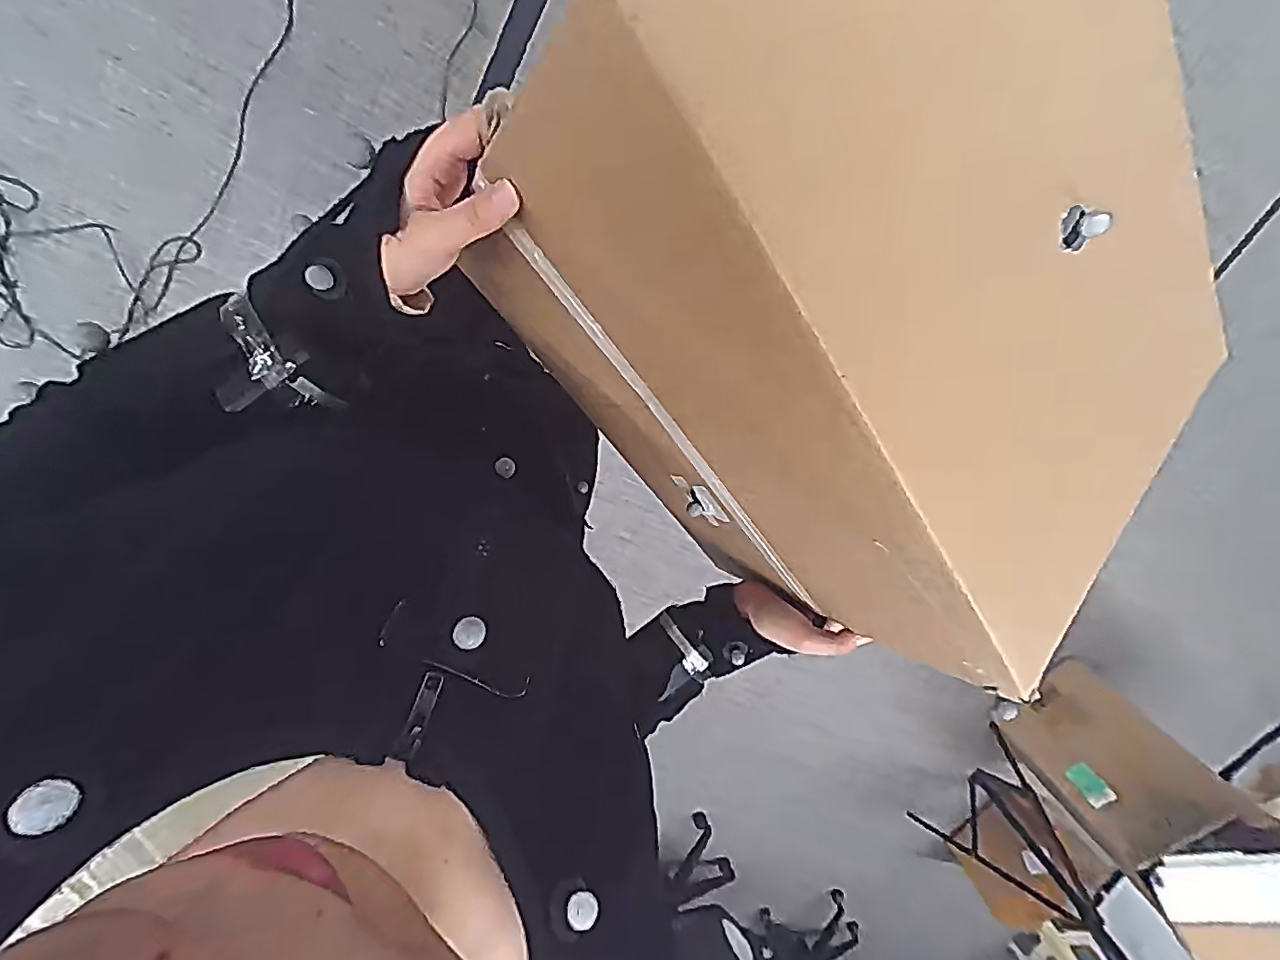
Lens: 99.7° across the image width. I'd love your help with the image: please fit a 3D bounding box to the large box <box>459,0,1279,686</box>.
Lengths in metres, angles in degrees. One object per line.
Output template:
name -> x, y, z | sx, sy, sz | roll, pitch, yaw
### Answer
large box -> 0.151, -0.147, 0.380 | 0.320, 0.320, 0.408 | -48, 115, -13
